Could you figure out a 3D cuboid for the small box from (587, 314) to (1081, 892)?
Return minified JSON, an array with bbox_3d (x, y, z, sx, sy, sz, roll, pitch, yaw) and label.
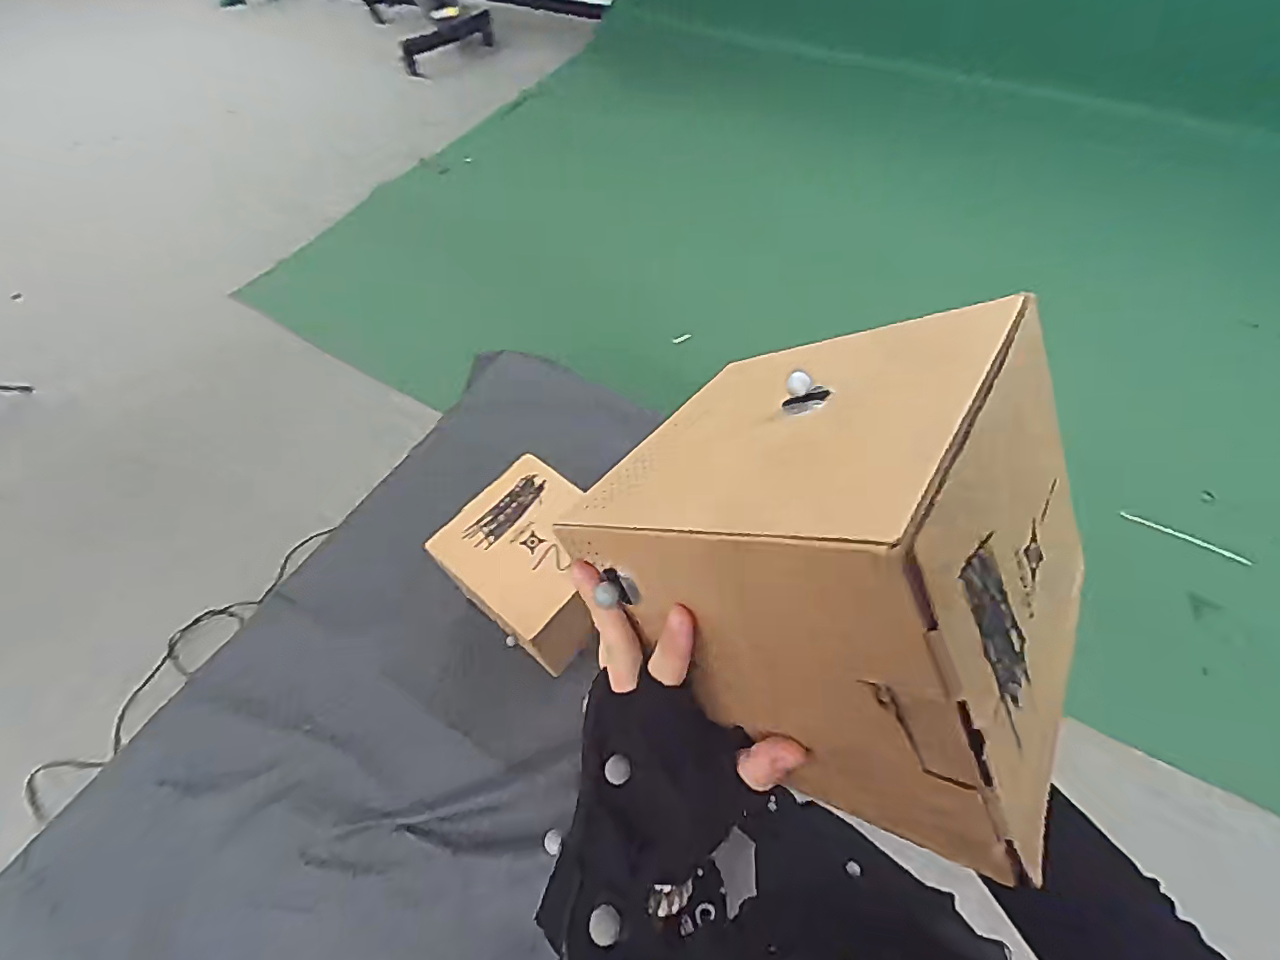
[{"bbox_3d":[0.096,0.044,0.281,0.176,0.168,0.179,-3,33,49],"label":"small box"}]
